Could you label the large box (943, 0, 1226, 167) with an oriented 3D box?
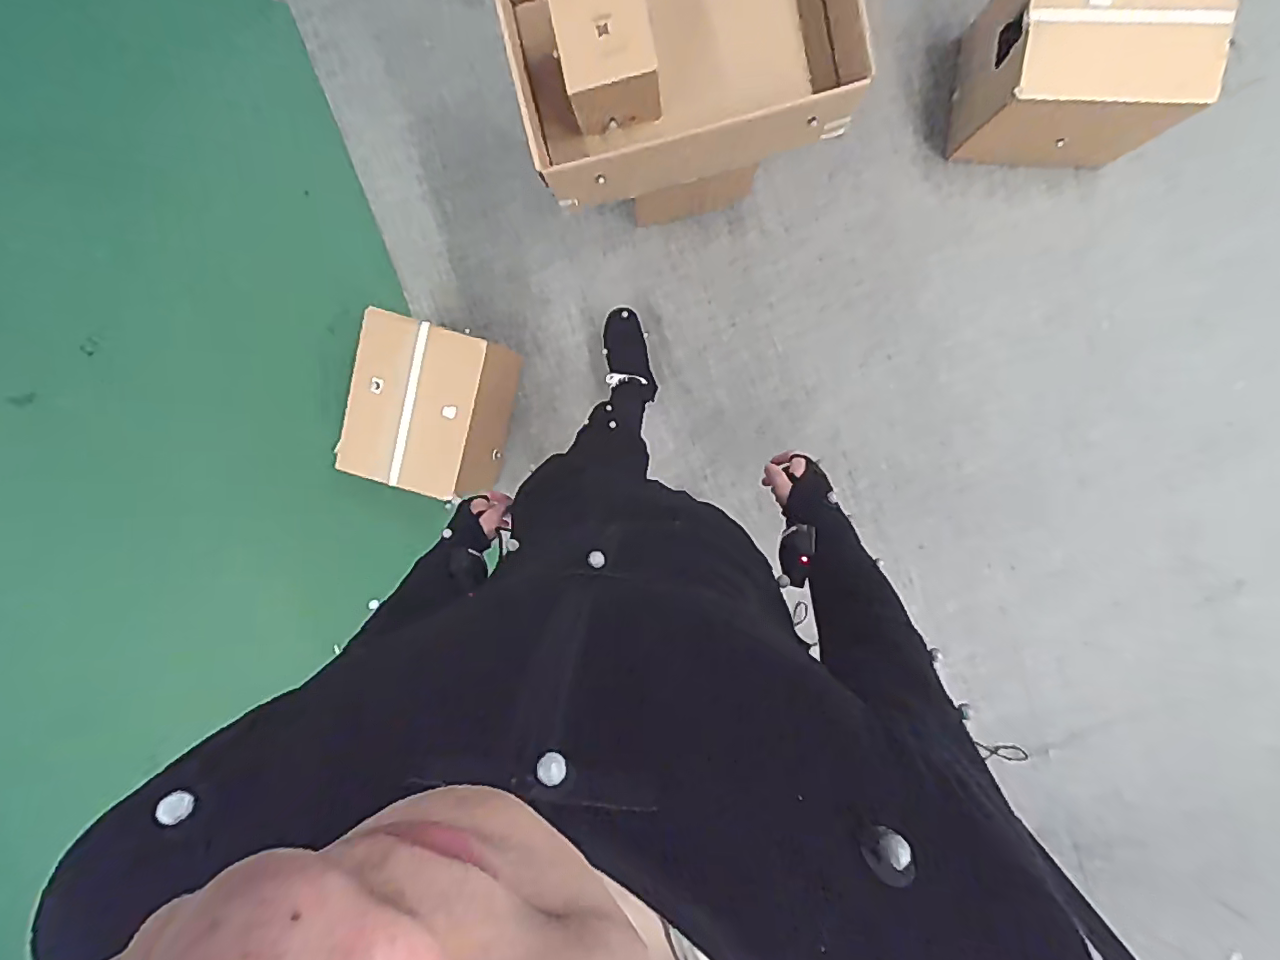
[{"bbox_3d":[1.001,-0.957,1.264,0.408,0.320,0.320,4,97,4],"label":"large box"}]
